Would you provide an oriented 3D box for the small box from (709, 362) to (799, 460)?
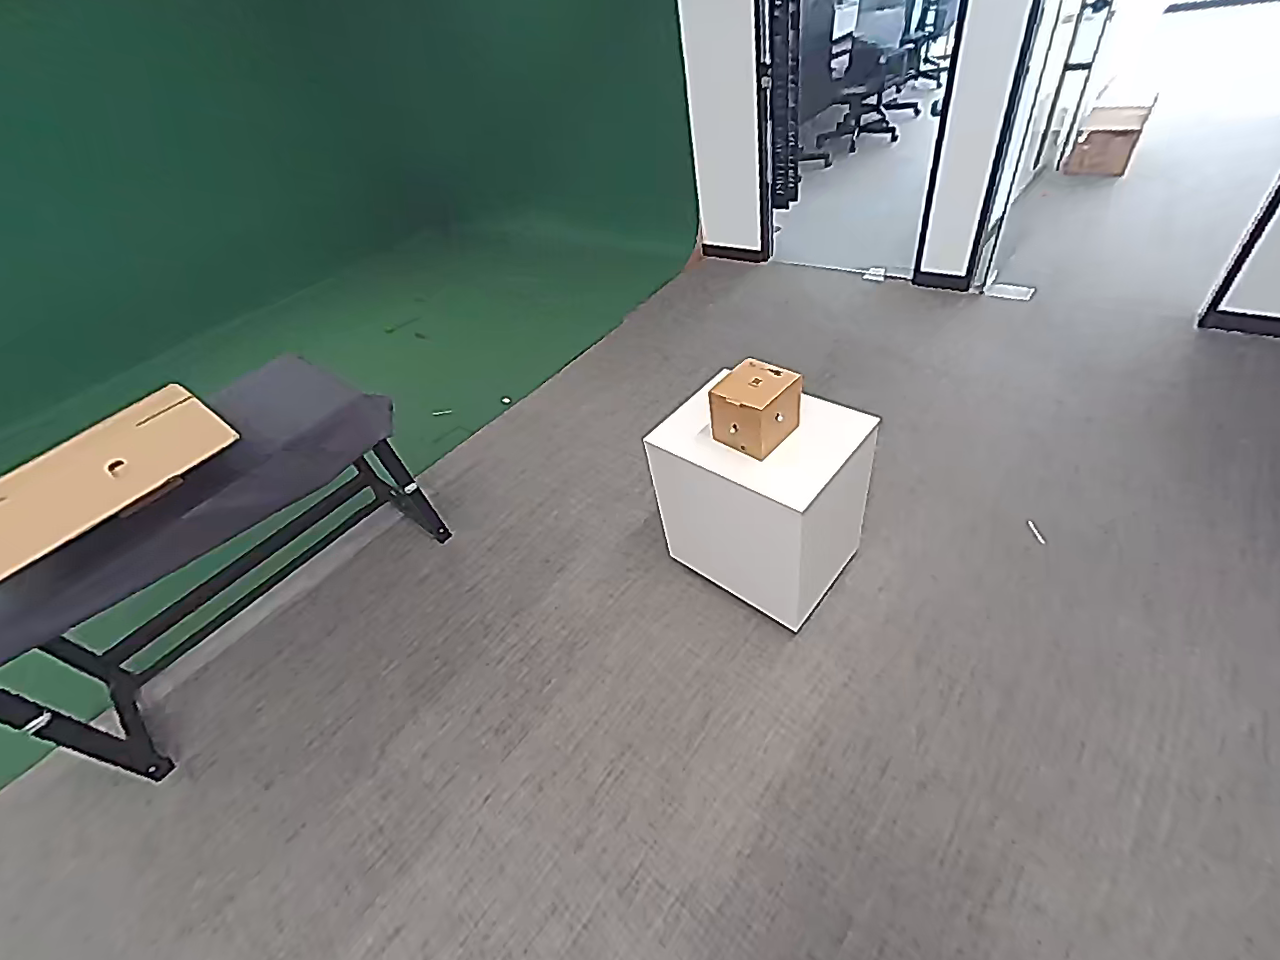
[{"bbox_3d":[0.305,-0.179,1.426,0.168,0.176,0.179,27,56,35],"label":"small box"}]
